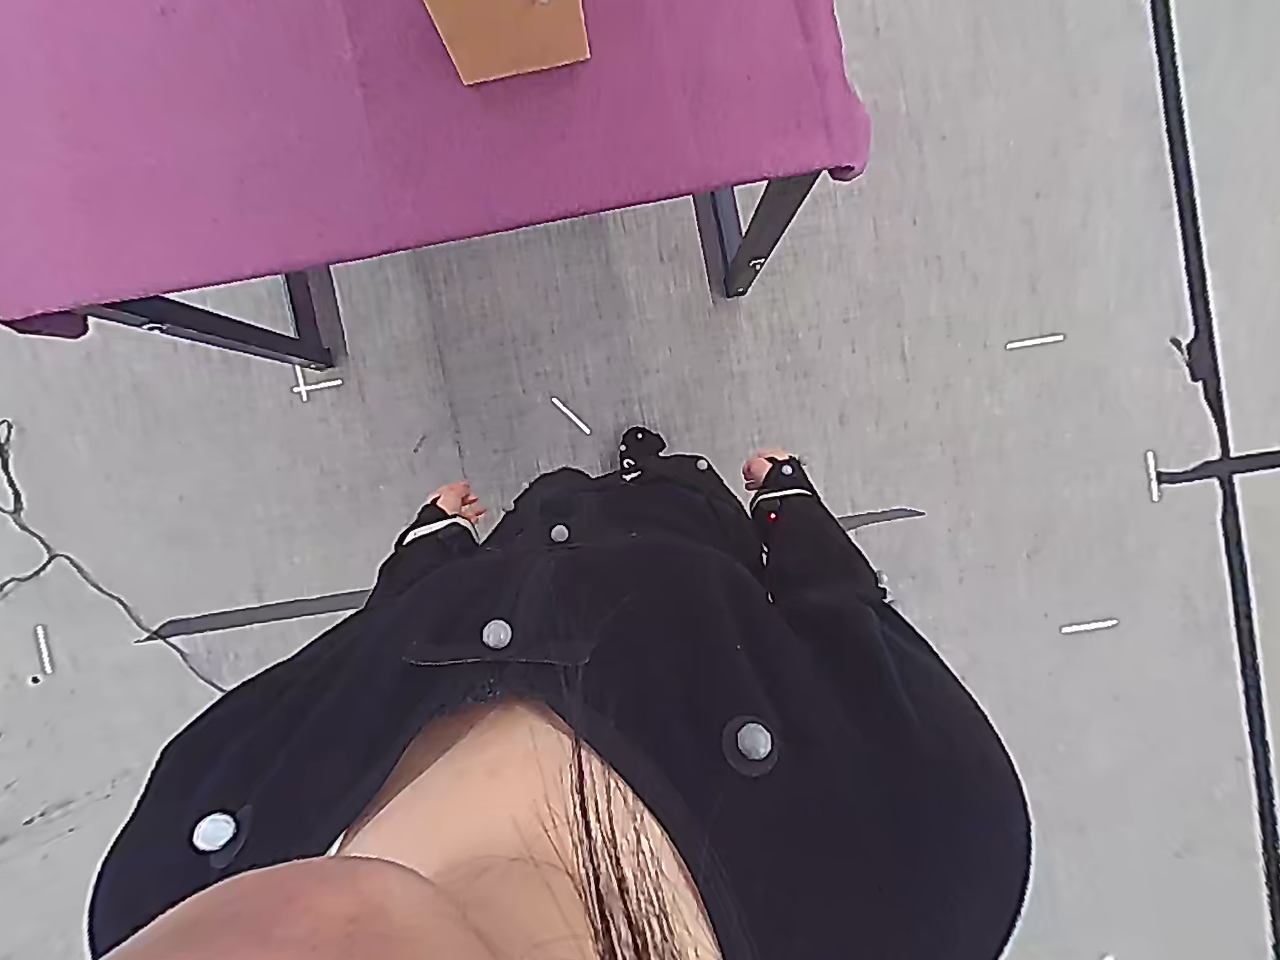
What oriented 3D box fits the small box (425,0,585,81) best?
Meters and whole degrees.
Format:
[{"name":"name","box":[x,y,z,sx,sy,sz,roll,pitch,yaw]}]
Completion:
[{"name":"small box","box":[-0.166,-0.624,0.642,0.179,0.176,0.168,-11,92,1]}]
